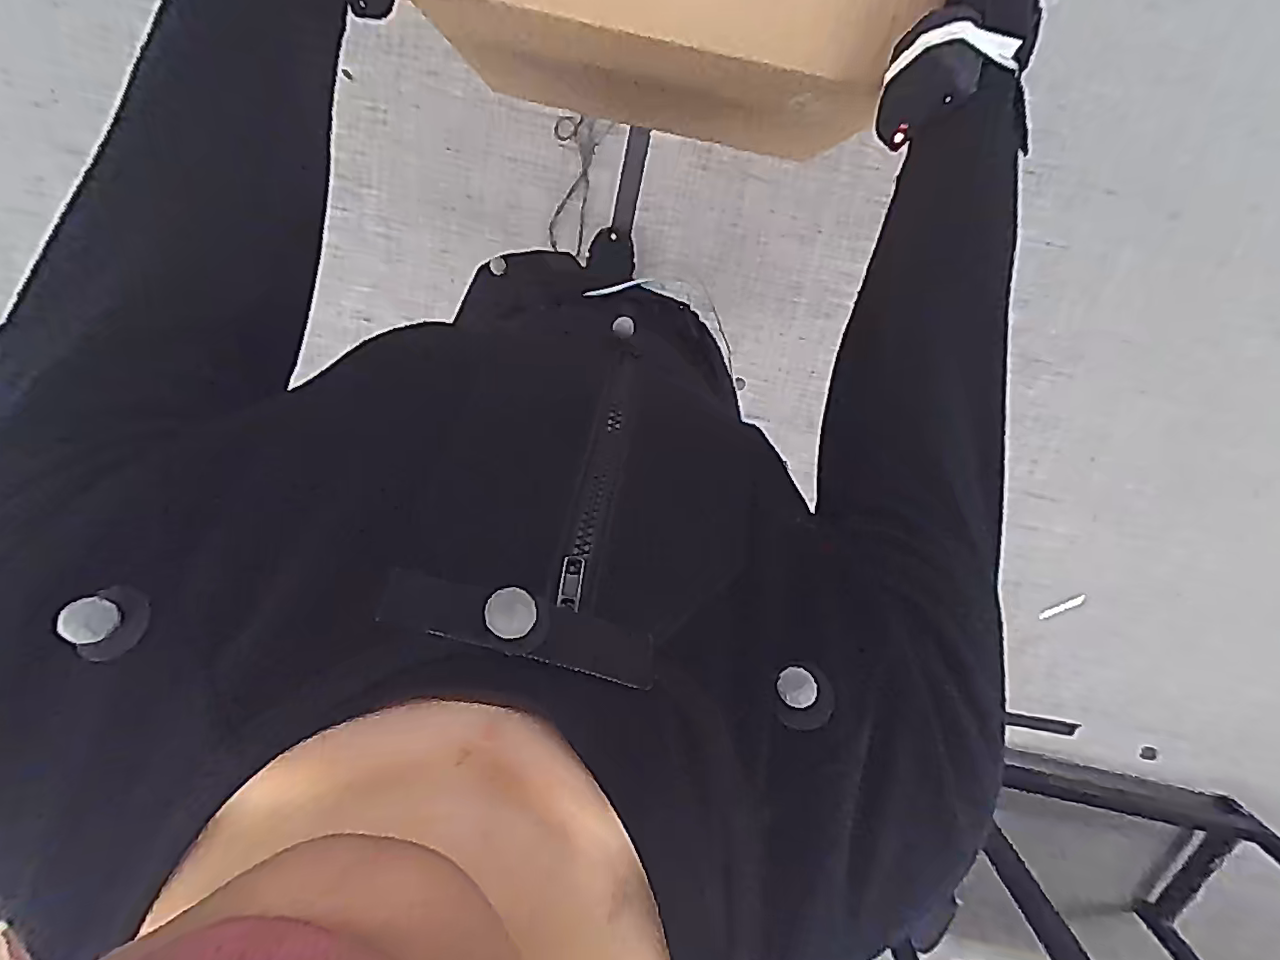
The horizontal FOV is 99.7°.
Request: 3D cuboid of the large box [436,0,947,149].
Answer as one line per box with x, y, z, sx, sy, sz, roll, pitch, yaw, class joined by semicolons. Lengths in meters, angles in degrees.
0.047;-0.532;0.480;0.408;0.320;0.320;10;113;-4;large box
